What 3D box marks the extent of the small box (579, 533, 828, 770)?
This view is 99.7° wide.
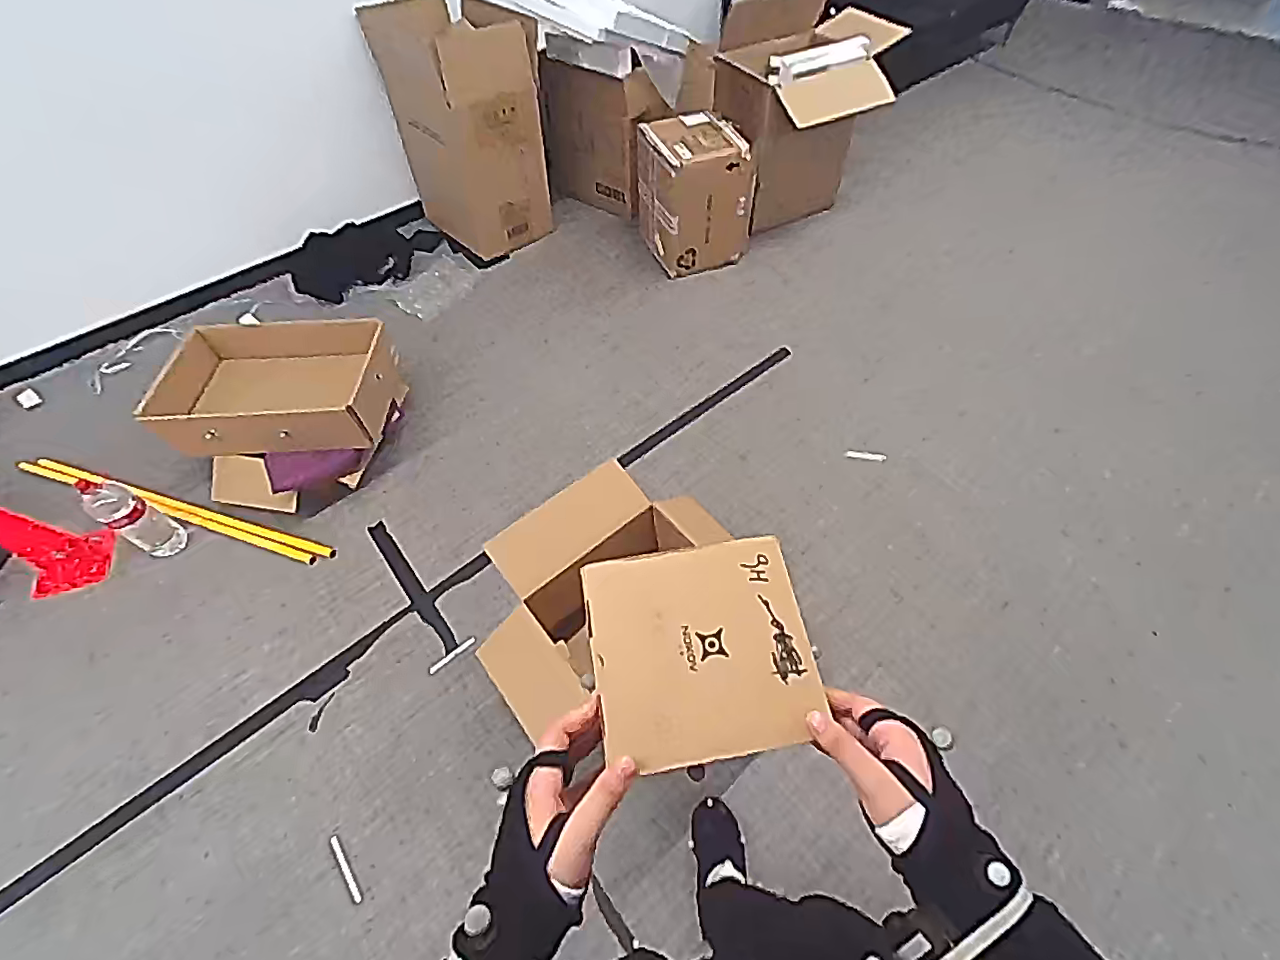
[{"bbox_3d":[0.047,0.169,0.509,0.179,0.176,0.168,-9,63,-4],"label":"small box"}]
